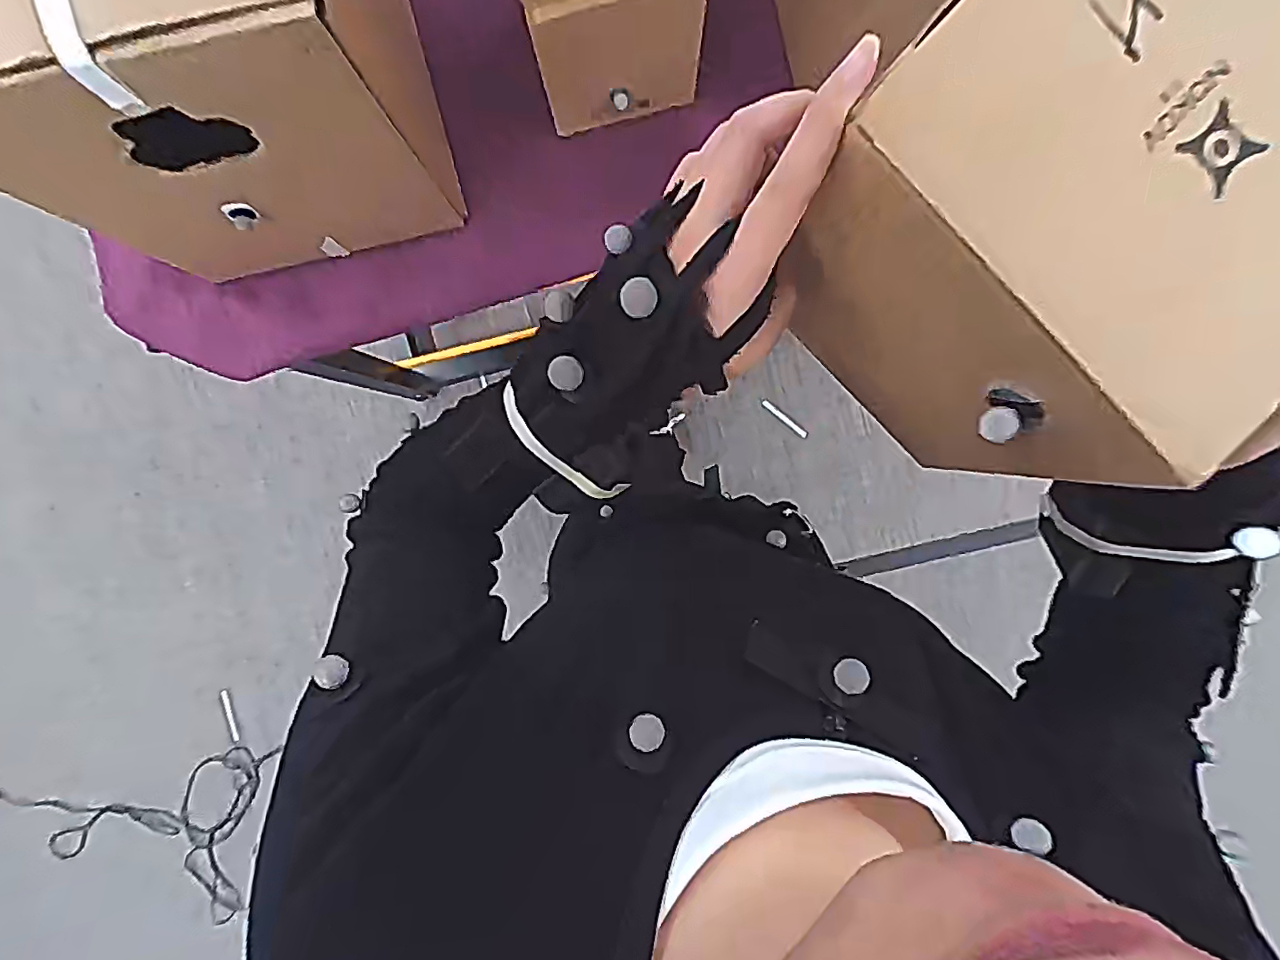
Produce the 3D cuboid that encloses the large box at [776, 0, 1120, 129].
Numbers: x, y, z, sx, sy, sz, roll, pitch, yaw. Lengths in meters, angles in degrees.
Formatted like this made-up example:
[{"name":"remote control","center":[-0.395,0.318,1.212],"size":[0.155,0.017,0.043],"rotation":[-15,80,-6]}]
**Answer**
[{"name":"large box","center":[0.285,-0.628,0.472],"size":[0.320,0.320,0.408],"rotation":[-15,90,1]}]
